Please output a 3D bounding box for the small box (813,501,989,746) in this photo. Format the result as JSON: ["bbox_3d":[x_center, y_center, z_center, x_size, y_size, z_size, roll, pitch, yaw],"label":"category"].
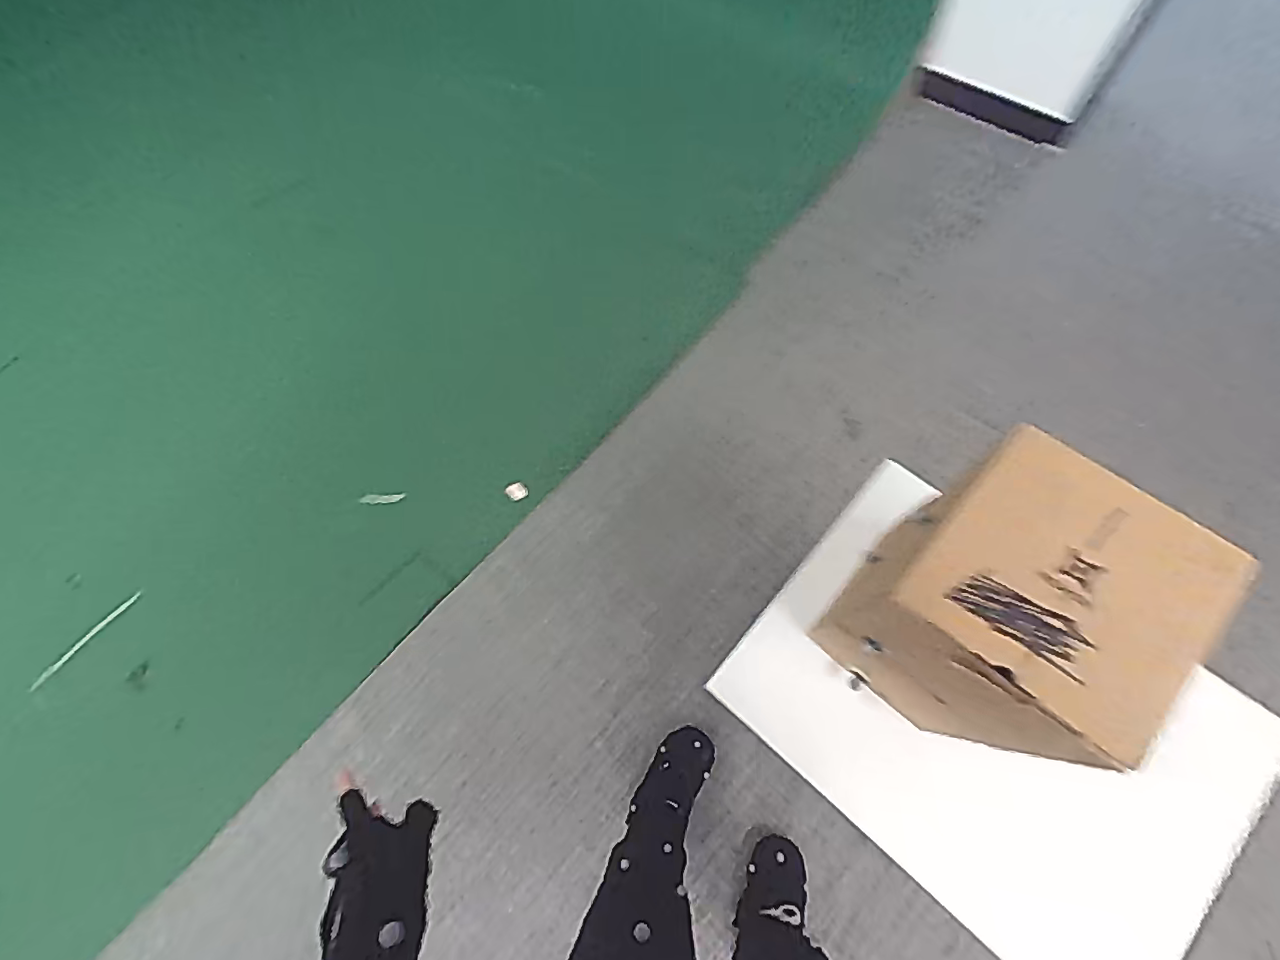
[{"bbox_3d":[0.315,0.157,0.600,0.168,0.176,0.179,38,79,19],"label":"small box"}]

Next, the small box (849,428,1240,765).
[{"bbox_3d":[0.297,0.097,0.447,0.168,0.176,0.179,40,78,19],"label":"small box"}]
